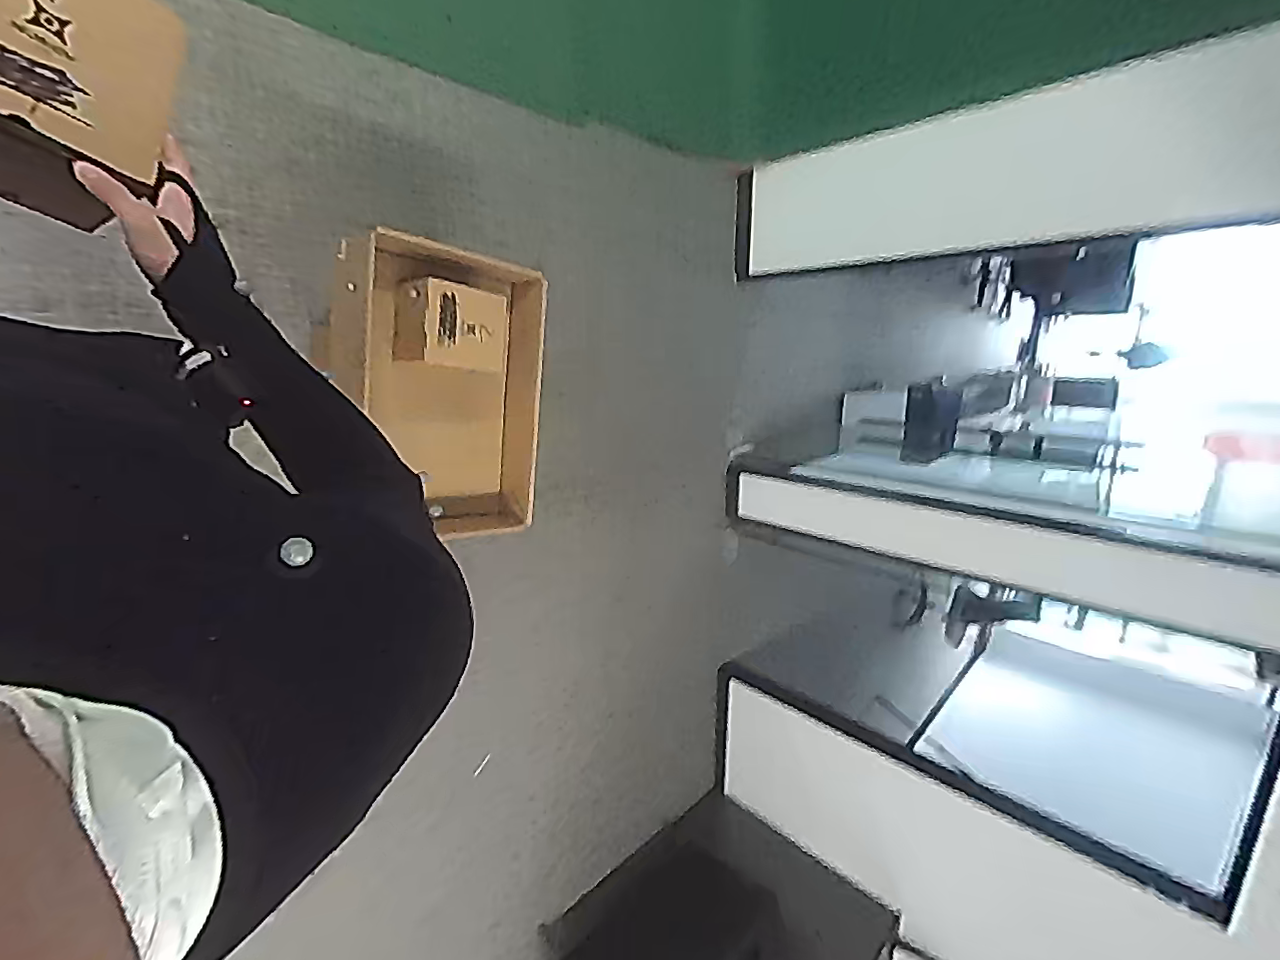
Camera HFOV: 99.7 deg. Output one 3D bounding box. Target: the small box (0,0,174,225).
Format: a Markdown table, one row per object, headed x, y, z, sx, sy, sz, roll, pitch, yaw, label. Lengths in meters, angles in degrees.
| x | y | z | sx | sy | sz | roll | pitch | yaw | label |
| --- | --- | --- | --- | --- | --- | --- | --- | --- | --- |
| -0.552 | -0.355 | 0.468 | 0.168 | 0.176 | 0.179 | 17 | 75 | -58 | small box |
